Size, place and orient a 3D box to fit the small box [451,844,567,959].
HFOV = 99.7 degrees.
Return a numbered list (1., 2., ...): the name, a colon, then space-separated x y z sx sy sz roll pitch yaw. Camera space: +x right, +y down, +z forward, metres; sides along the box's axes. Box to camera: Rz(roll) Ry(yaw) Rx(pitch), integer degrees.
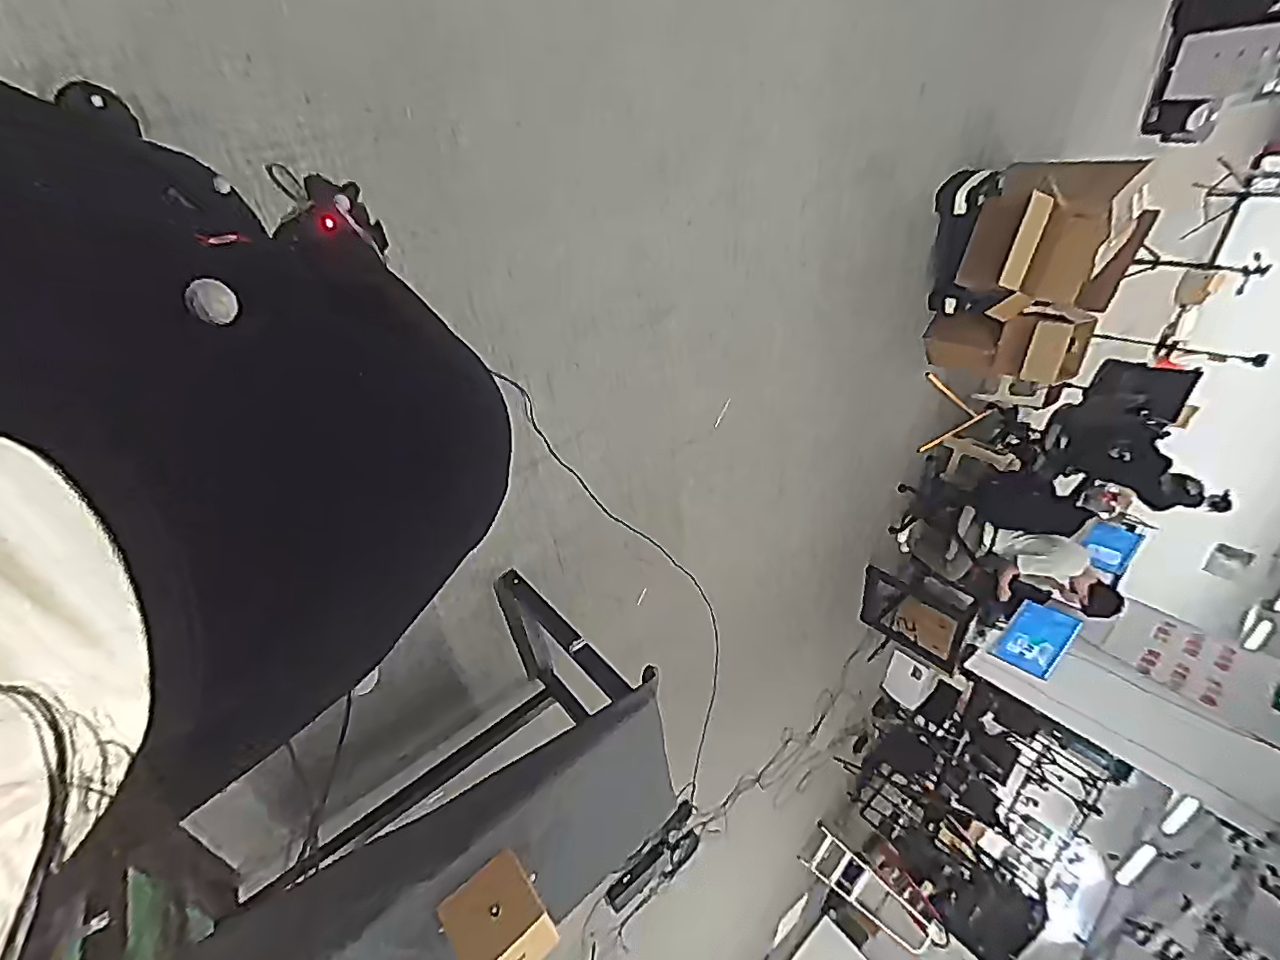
1. small box: -0.287 0.947 1.167 0.179 0.176 0.168 -31 131 -29
